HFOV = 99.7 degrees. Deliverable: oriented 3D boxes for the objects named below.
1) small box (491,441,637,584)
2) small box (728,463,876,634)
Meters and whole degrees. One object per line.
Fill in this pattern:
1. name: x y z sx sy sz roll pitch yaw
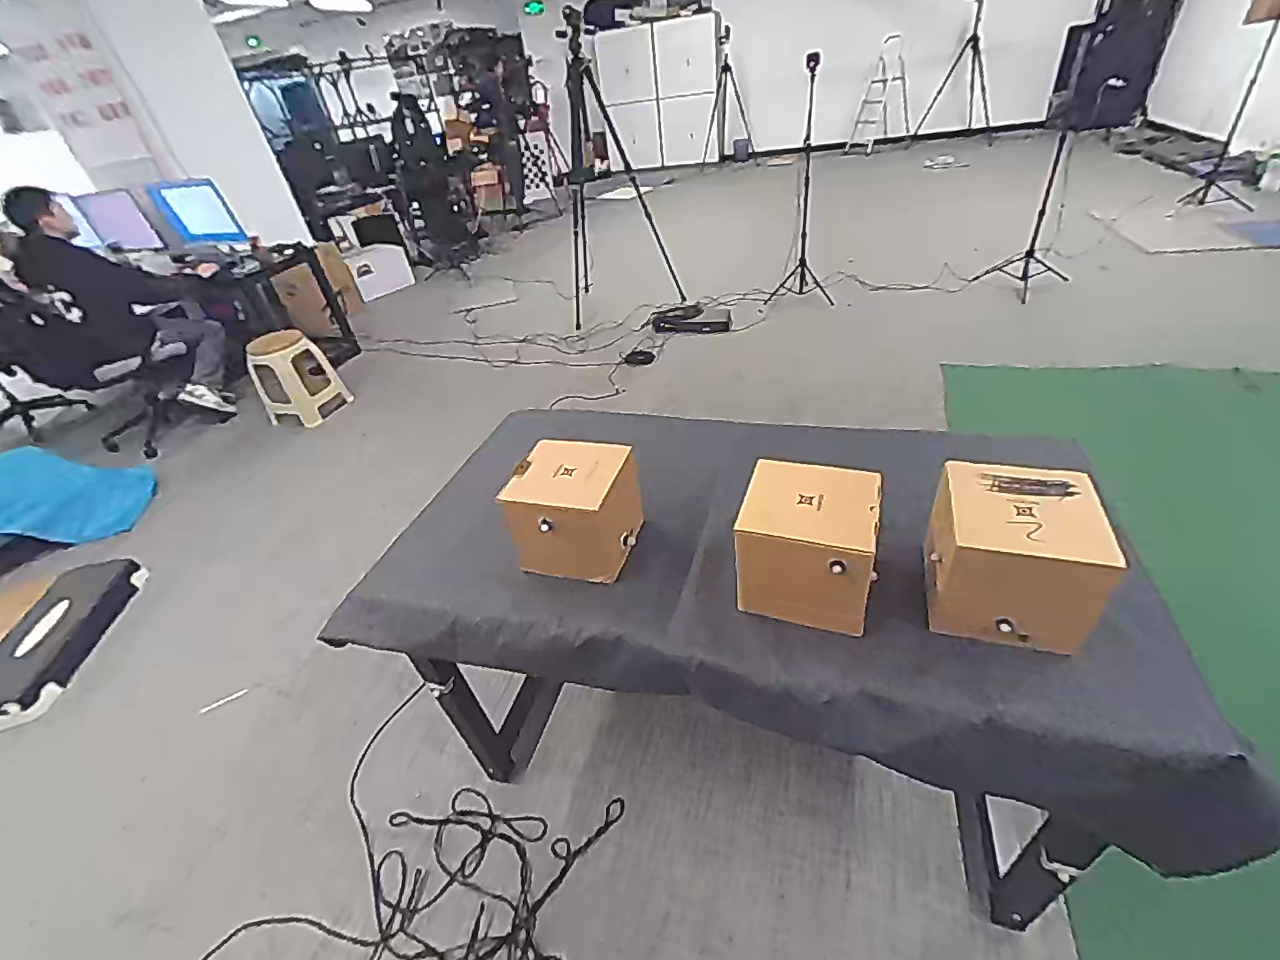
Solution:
1. small box: -0.116 0.053 0.908 0.179 0.176 0.168 6 40 17
2. small box: 0.233 0.097 0.782 0.179 0.176 0.168 8 39 21
